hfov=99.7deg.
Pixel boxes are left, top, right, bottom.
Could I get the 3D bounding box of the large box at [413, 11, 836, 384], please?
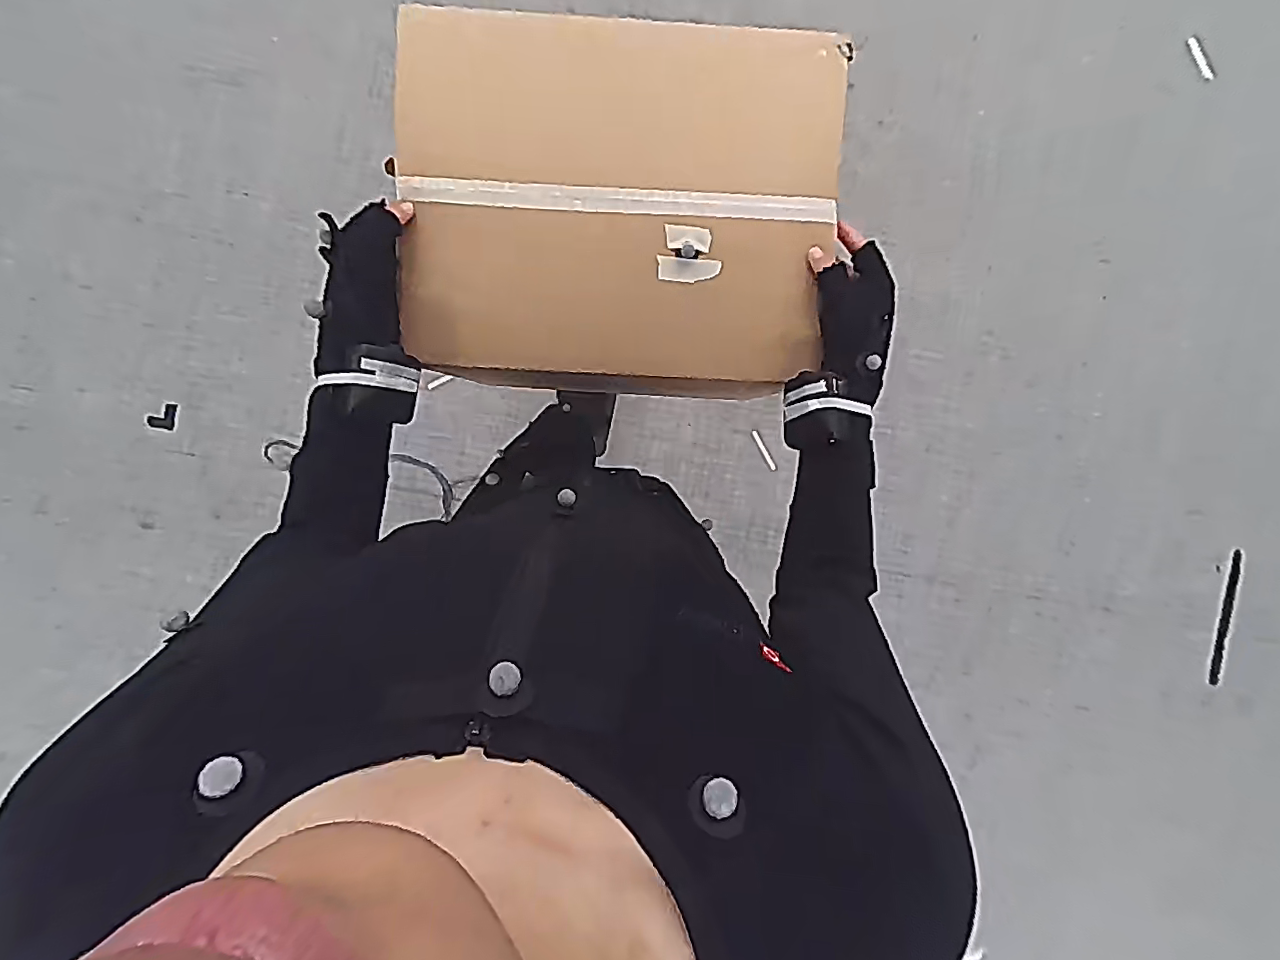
[{"bbox_3d":[-0.022,-0.290,0.667,0.408,0.320,0.320,2,97,-2],"label":"large box"}]
